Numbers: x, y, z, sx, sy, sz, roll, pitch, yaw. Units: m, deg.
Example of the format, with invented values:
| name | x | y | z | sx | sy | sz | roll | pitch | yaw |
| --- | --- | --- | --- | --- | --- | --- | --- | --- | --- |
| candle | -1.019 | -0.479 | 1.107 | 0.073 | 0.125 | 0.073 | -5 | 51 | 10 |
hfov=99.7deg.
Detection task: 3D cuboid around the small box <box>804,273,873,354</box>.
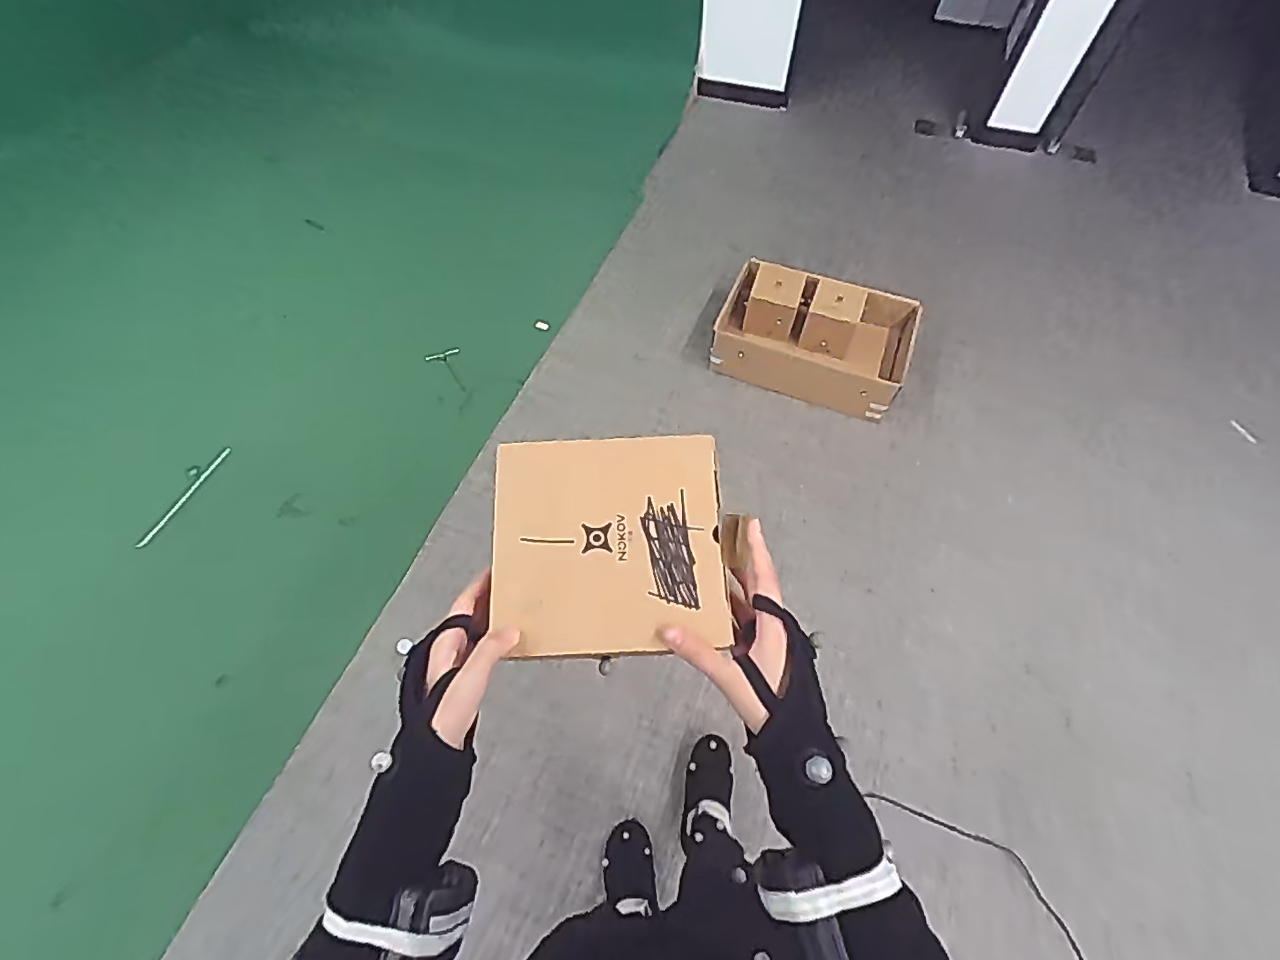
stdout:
| name | x | y | z | sx | sy | sz | roll | pitch | yaw |
| --- | --- | --- | --- | --- | --- | --- | --- | --- | --- |
| small box | 0.670 | -0.564 | 1.839 | 0.168 | 0.176 | 0.179 | 19 | 63 | 14 |
